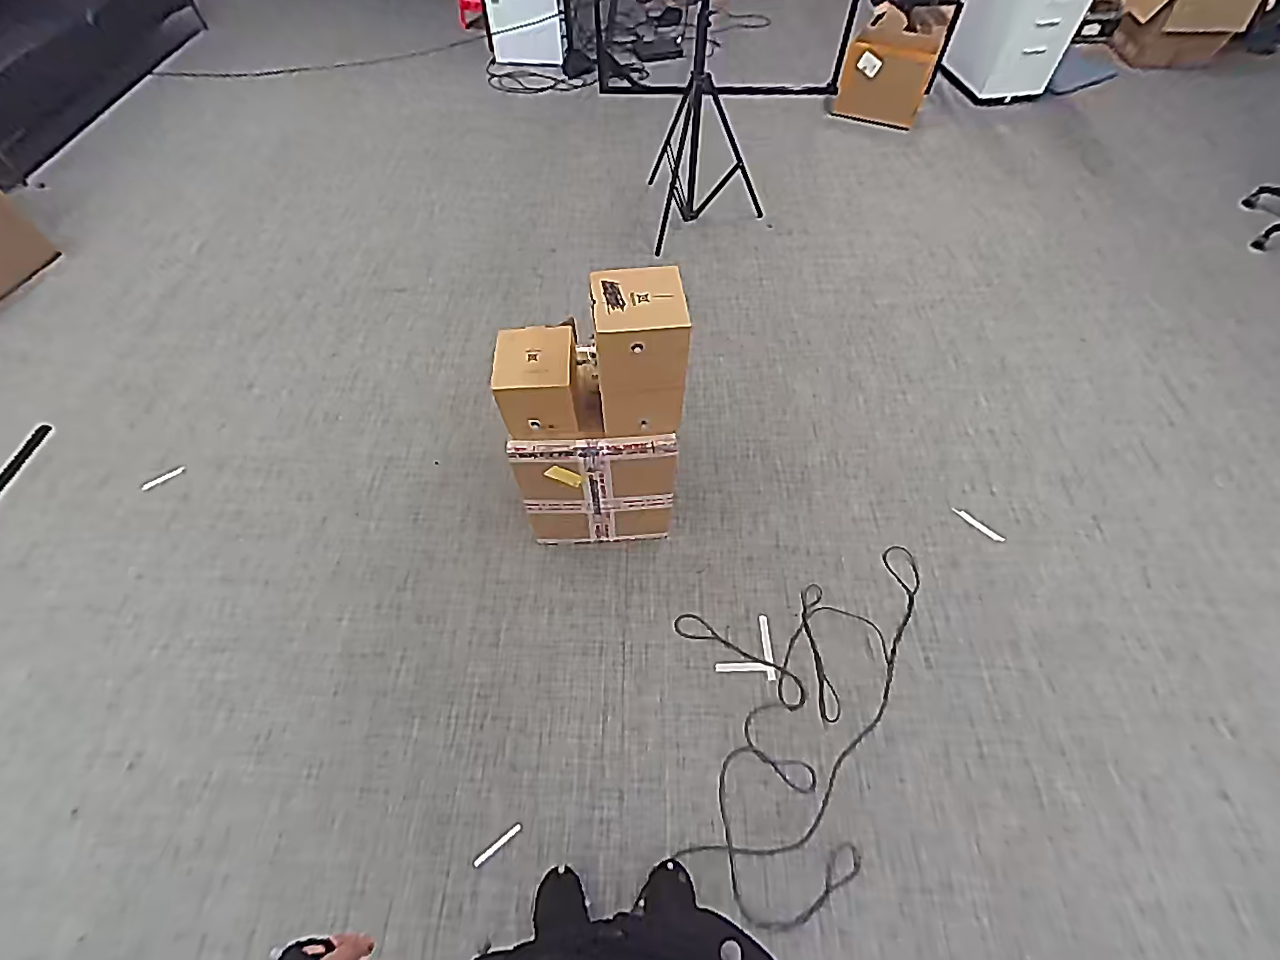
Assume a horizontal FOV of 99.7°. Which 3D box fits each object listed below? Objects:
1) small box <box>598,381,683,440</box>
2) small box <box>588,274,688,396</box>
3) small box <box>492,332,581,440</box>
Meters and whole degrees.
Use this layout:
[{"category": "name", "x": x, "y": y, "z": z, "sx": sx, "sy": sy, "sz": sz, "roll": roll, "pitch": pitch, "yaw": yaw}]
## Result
[{"category": "small box", "x": -0.006, "y": -0.207, "z": 1.231, "sx": 0.179, "sy": 0.176, "sz": 0.168, "roll": -6, "pitch": 60, "yaw": -4}, {"category": "small box", "x": -0.006, "y": -0.285, "z": 1.085, "sx": 0.179, "sy": 0.176, "sz": 0.168, "roll": -6, "pitch": 60, "yaw": -4}, {"category": "small box", "x": -0.229, "y": -0.212, "z": 1.234, "sx": 0.168, "sy": 0.176, "sz": 0.179, "roll": -4, "pitch": 61, "yaw": 0}]
